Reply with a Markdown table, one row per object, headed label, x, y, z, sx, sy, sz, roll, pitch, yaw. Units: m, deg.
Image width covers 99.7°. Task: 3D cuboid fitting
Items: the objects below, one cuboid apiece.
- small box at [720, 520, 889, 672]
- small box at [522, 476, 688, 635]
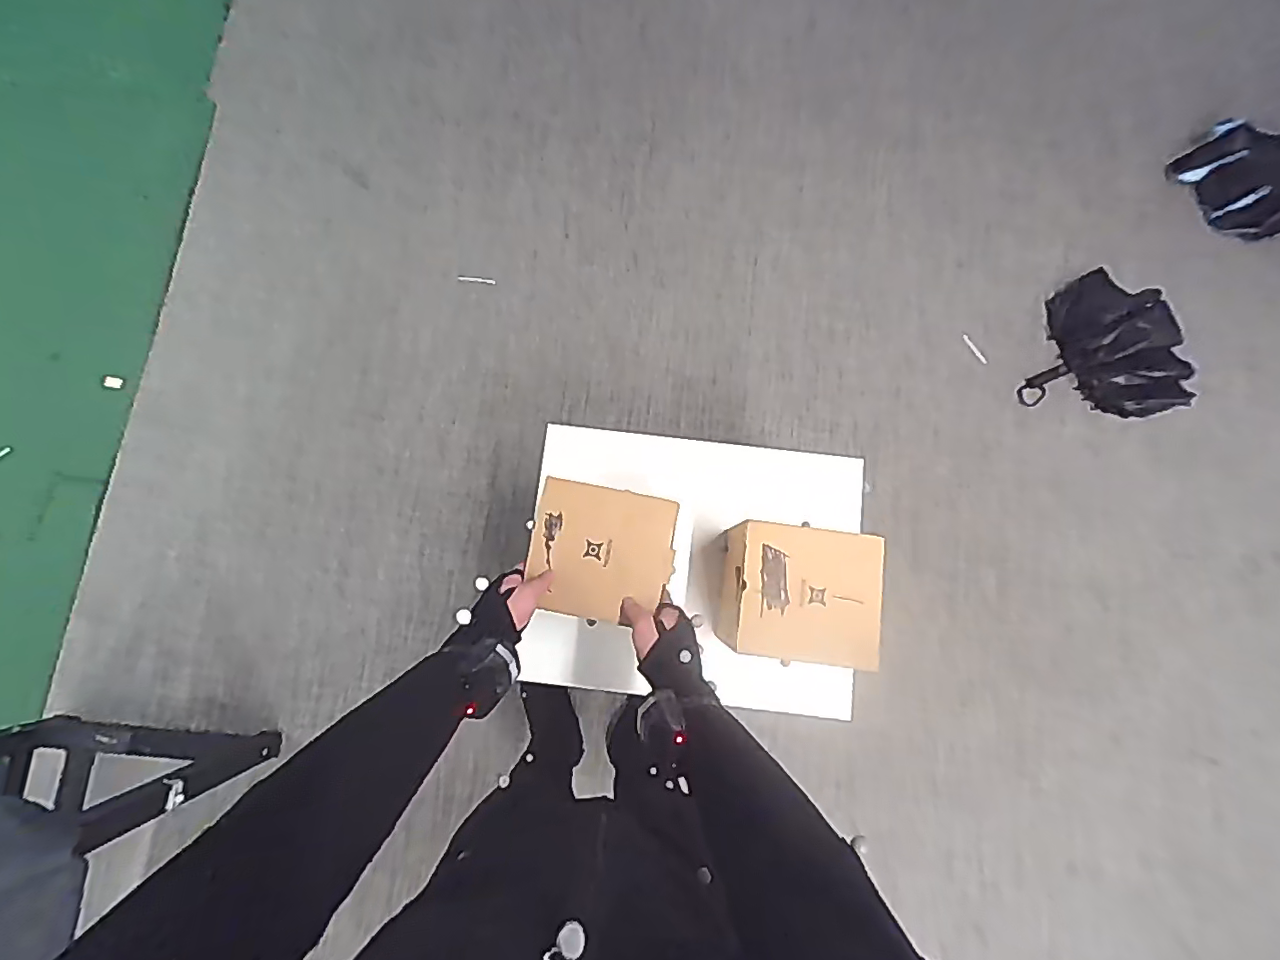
| label | x | y | z | sx | sy | sz | roll | pitch | yaw |
| --- | --- | --- | --- | --- | --- | --- | --- | --- | --- |
| small box | 0.212 | 0.155 | 0.736 | 0.179 | 0.176 | 0.168 | 8 | 79 | -2 |
| small box | -0.047 | 0.105 | 0.732 | 0.179 | 0.176 | 0.168 | 12 | 77 | -3 |
